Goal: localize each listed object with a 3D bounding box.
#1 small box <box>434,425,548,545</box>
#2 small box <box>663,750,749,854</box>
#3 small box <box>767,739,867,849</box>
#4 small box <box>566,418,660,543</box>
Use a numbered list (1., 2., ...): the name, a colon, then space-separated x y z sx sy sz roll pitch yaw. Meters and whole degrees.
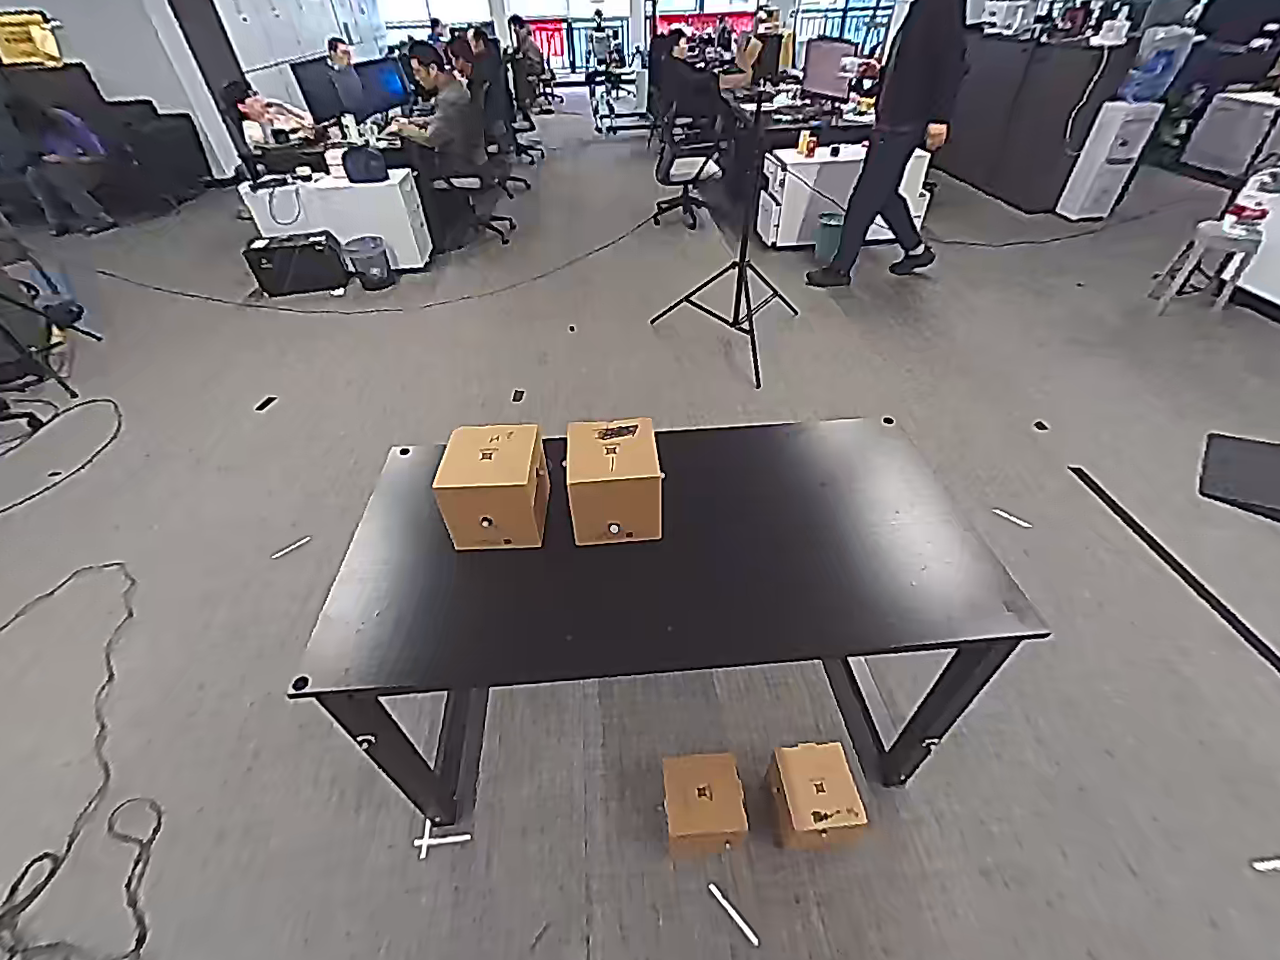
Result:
1. small box: -0.275 0.013 1.045 0.168 0.176 0.179 -2 42 0
2. small box: 0.147 0.765 1.284 0.179 0.176 0.168 -5 42 -2
3. small box: 0.410 0.747 1.288 0.168 0.176 0.179 -5 42 -2
4. small box: -0.051 0.000 1.049 0.168 0.176 0.179 -4 43 -2
